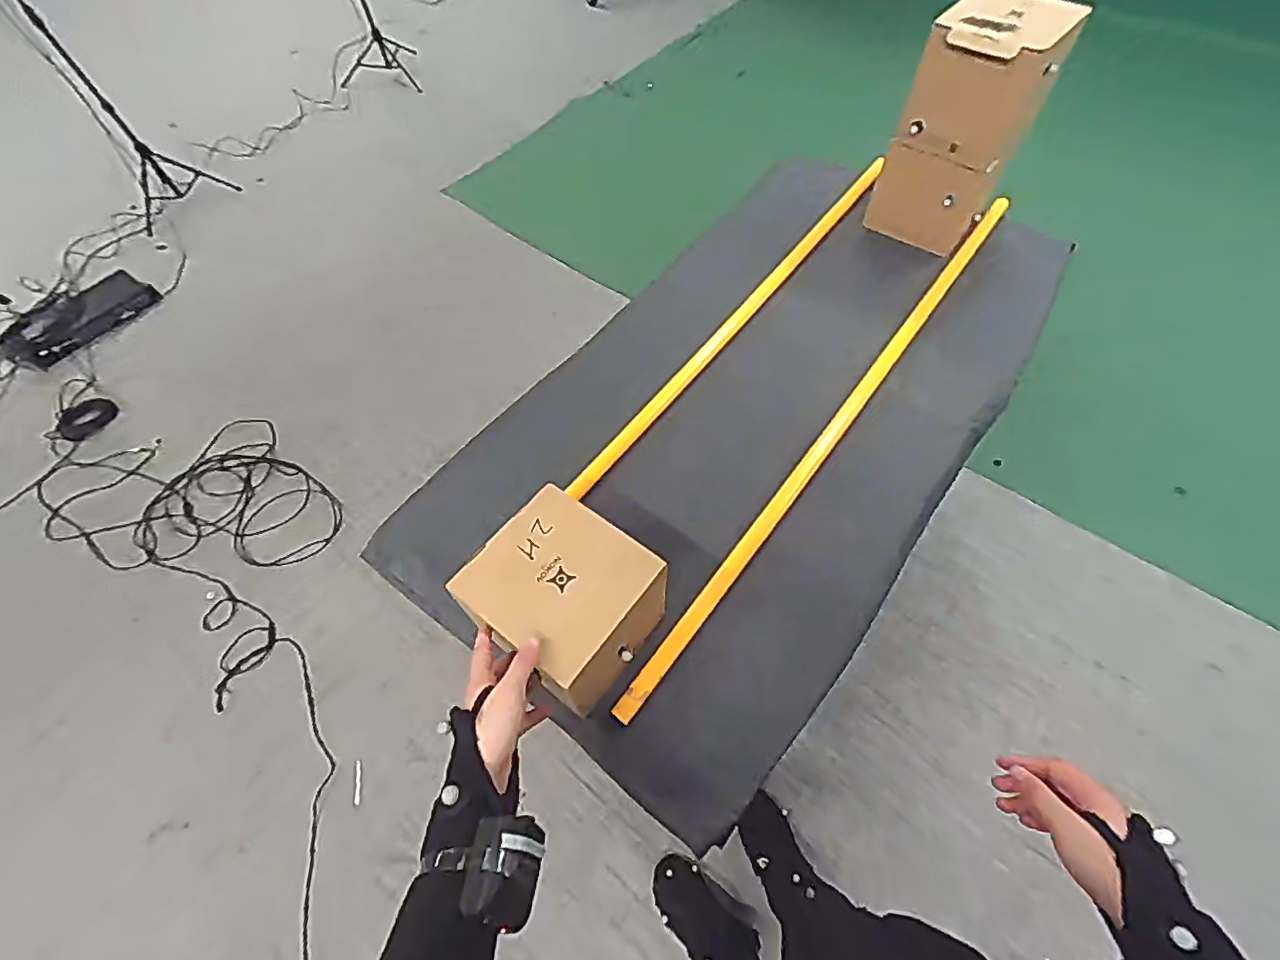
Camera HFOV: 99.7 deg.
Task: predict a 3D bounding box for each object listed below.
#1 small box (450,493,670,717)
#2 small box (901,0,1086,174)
[{"bbox_3d":[-0.082,0.154,0.638,0.179,0.176,0.168,32,63,20],"label":"small box"},{"bbox_3d":[0.554,-0.633,0.876,0.168,0.176,0.179,38,68,22],"label":"small box"}]
